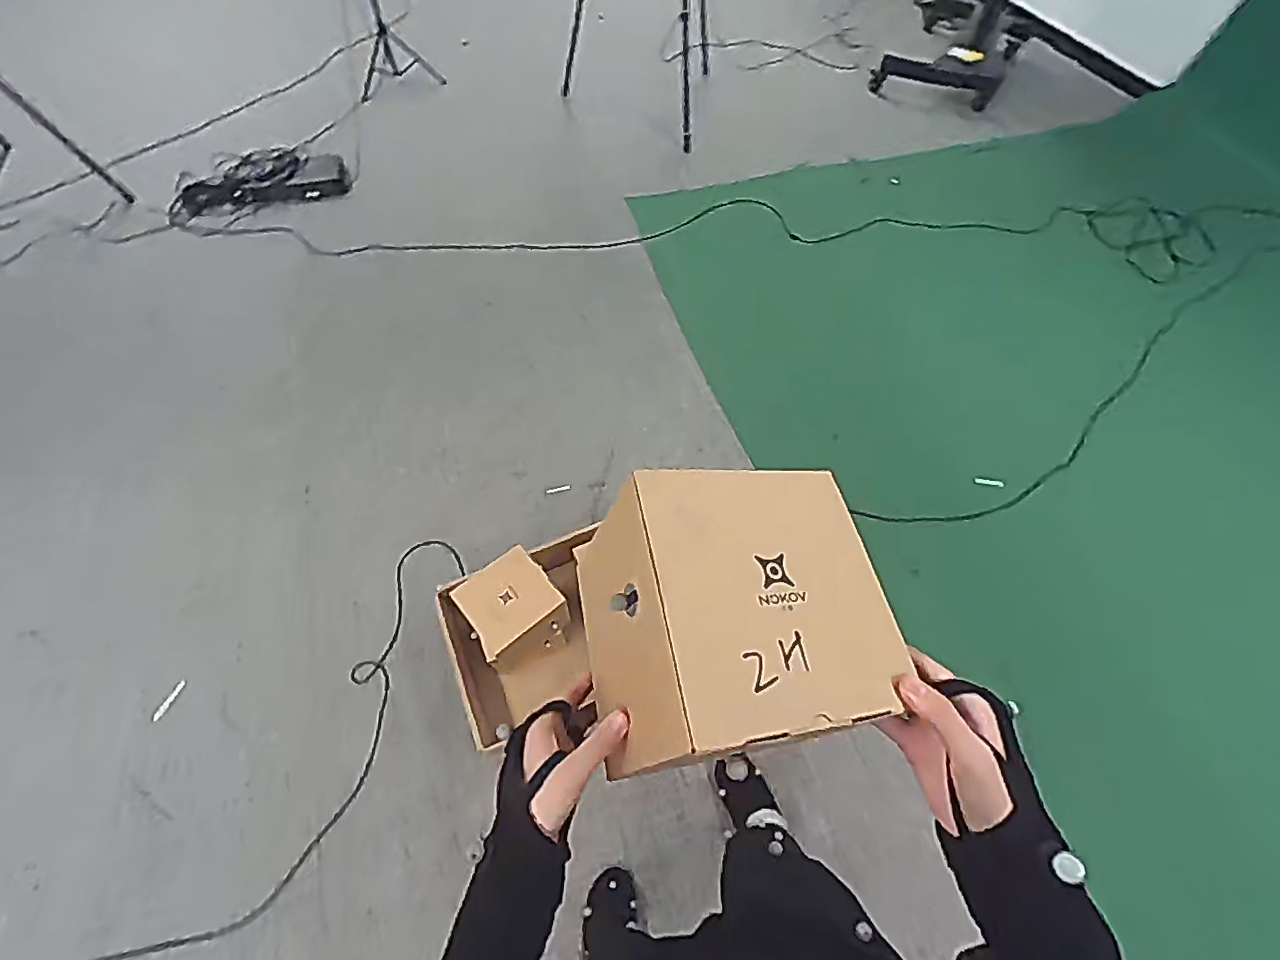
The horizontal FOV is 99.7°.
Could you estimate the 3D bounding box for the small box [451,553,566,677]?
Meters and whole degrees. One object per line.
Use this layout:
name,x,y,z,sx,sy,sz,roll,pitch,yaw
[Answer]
small box,-0.275,0.295,1.168,0.179,0.176,0.168,-36,67,-21

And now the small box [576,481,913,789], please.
small box,0.055,0.118,0.413,0.168,0.176,0.179,0,58,-22

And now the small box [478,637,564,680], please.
small box,-0.296,0.366,1.313,0.179,0.176,0.168,-20,63,-15
